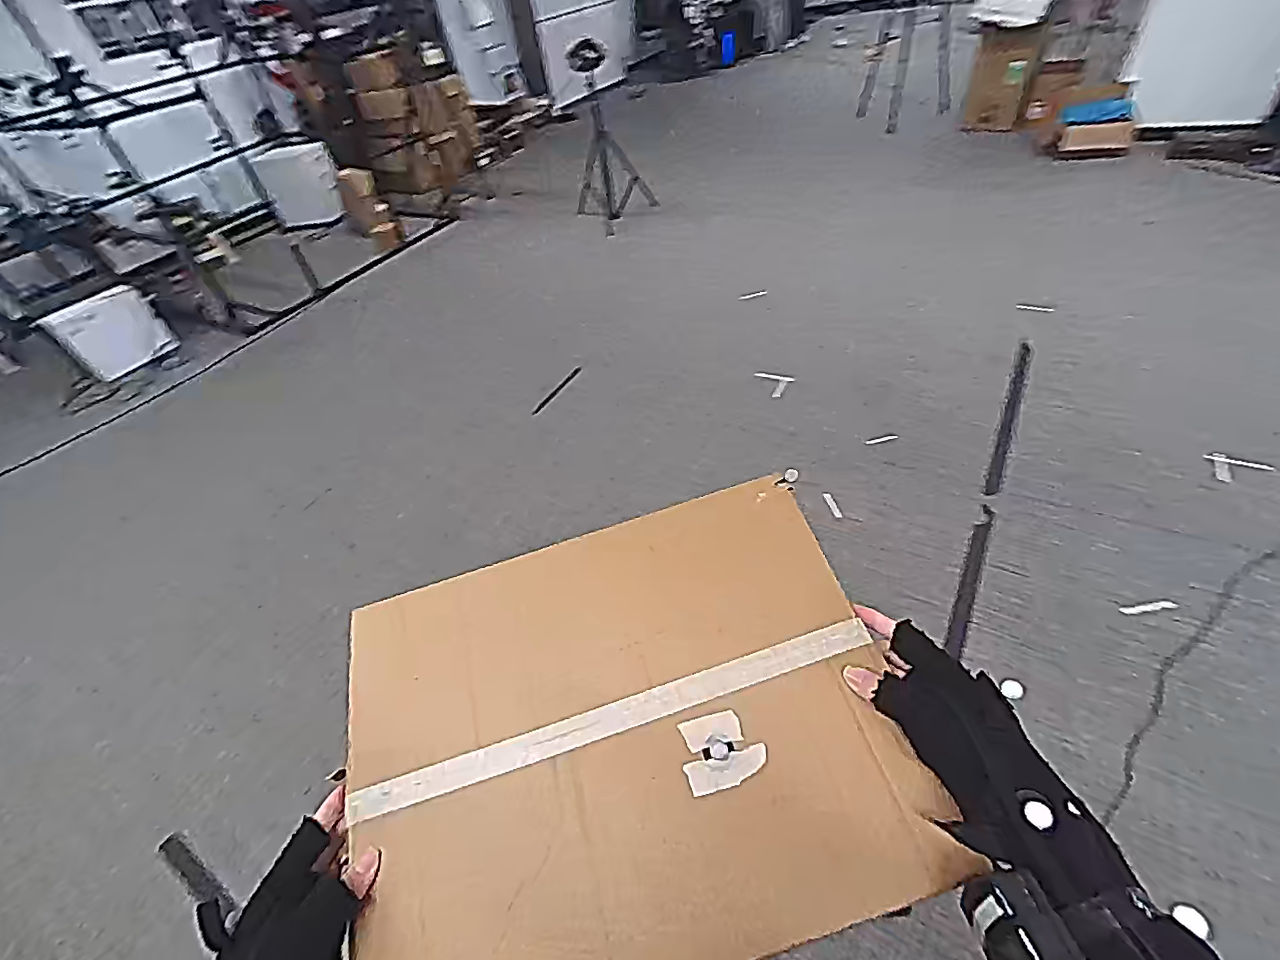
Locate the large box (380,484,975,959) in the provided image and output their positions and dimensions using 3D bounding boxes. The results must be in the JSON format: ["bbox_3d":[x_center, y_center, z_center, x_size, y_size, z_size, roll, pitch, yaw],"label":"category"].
[{"bbox_3d":[0.010,0.263,0.546,0.408,0.320,0.320,-17,57,-2],"label":"large box"}]
